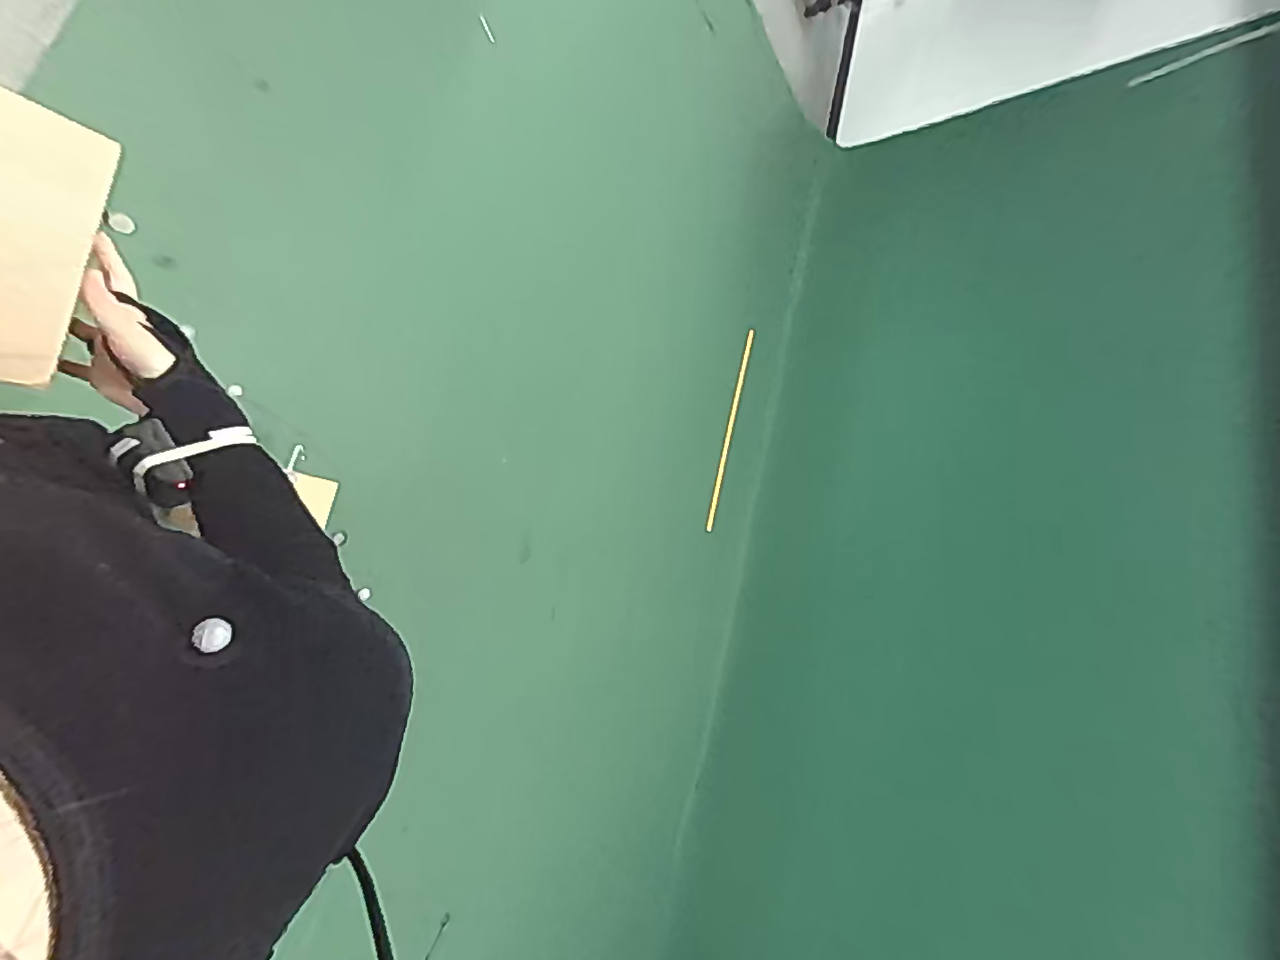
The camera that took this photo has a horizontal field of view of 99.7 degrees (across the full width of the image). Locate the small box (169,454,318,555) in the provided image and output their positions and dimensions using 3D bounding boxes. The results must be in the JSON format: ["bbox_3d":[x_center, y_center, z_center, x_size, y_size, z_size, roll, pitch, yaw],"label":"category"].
[{"bbox_3d":[-0.803,0.047,1.098,0.179,0.176,0.168,26,74,-51],"label":"small box"}]
